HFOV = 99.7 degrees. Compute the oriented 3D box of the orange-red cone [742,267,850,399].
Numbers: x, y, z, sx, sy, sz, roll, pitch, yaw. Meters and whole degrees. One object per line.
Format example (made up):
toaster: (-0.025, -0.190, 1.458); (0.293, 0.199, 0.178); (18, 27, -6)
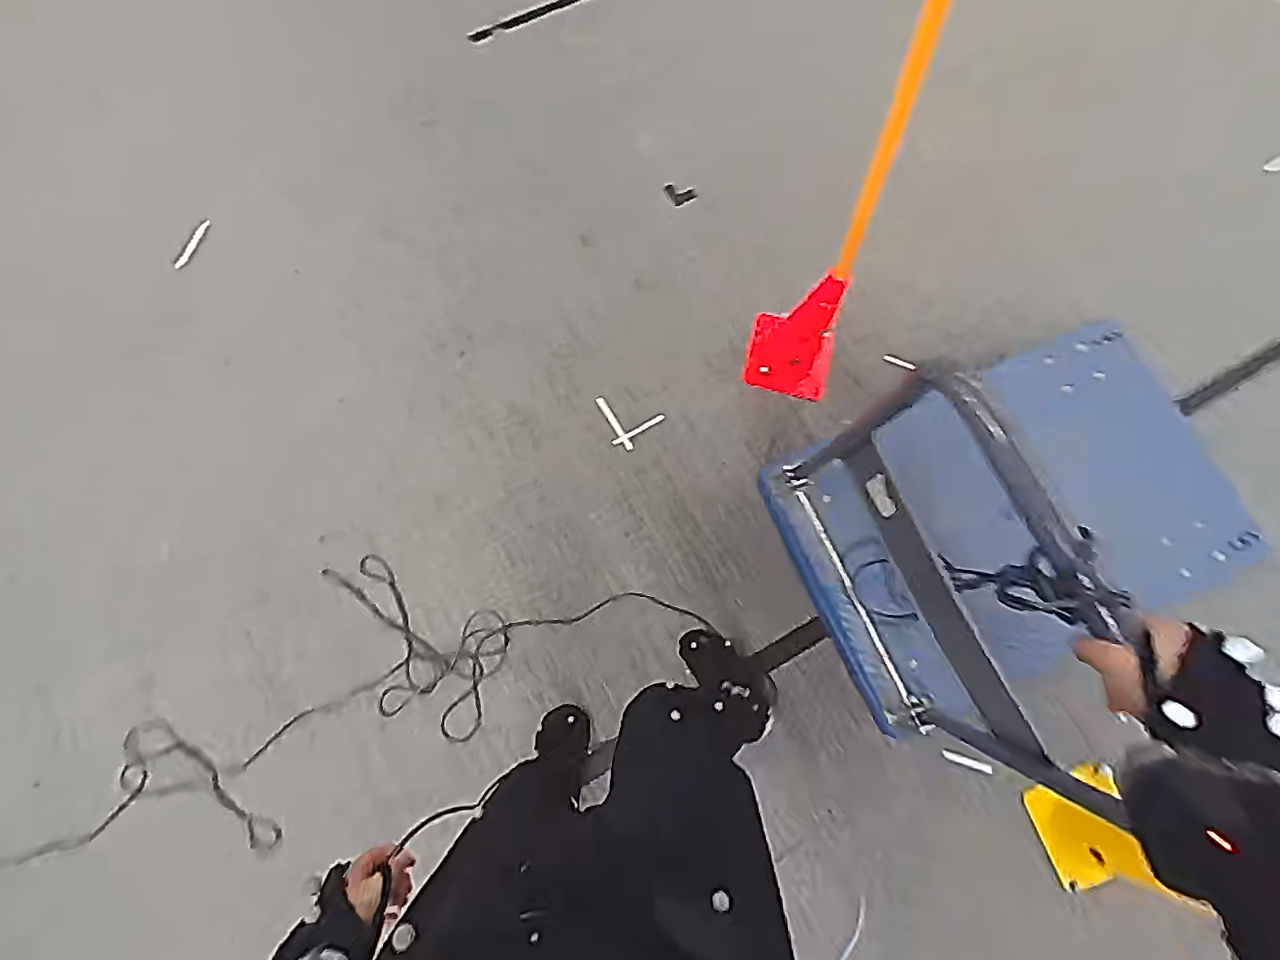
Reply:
orange-red cone: (0.370, -0.344, 1.170); (0.199, 0.360, 0.198); (15, 79, 1)
